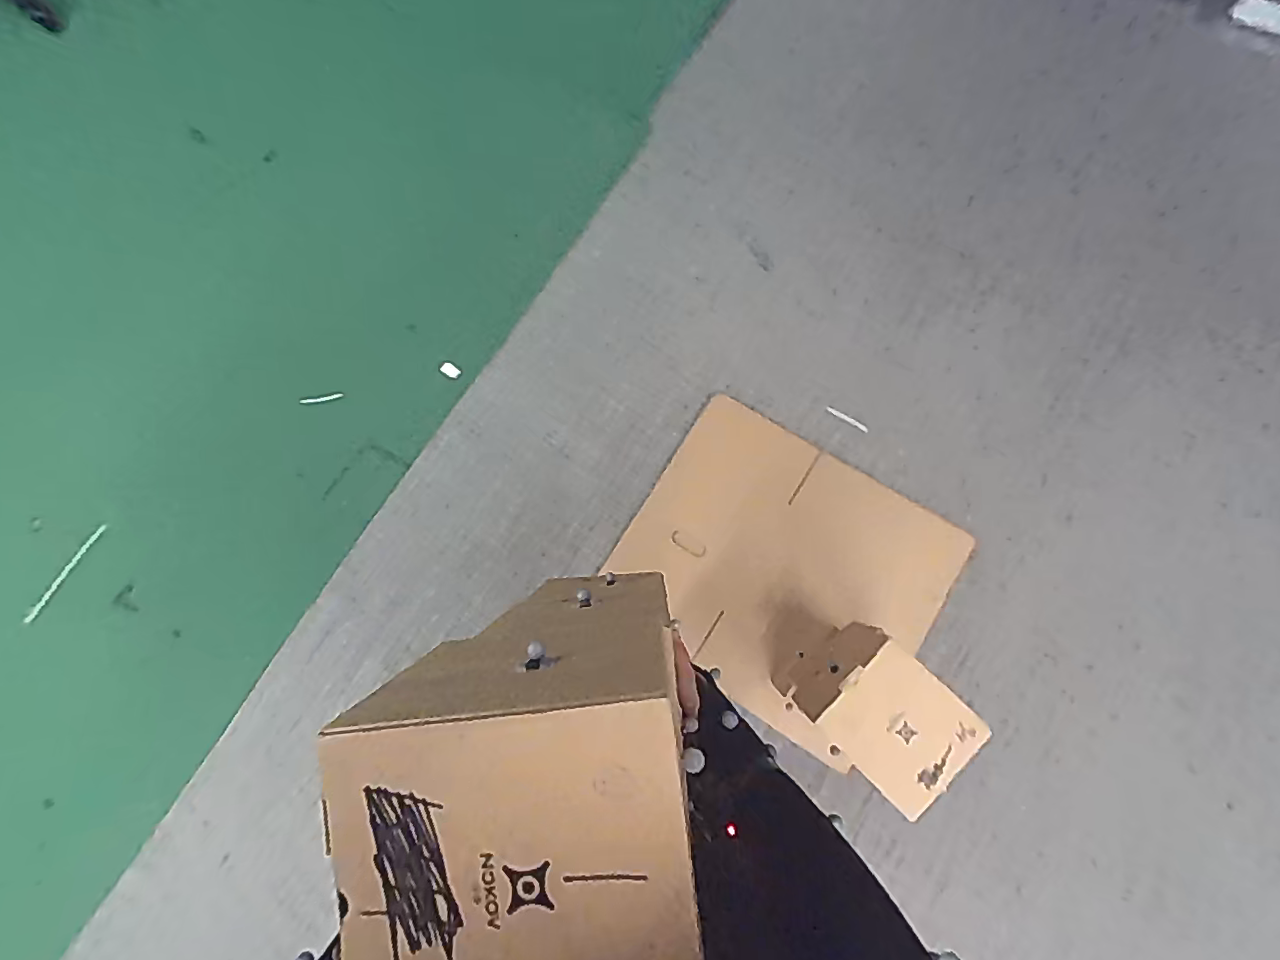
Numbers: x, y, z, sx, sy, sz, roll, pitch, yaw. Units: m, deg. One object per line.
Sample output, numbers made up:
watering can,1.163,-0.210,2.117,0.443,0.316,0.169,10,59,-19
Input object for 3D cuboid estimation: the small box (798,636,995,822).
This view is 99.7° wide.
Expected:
small box,0.362,0.351,0.805,0.168,0.176,0.179,-44,77,-5

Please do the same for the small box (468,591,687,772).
small box,-0.046,0.210,0.495,0.168,0.176,0.179,-6,88,0

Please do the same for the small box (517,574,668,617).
small box,-0.045,0.220,0.660,0.168,0.176,0.179,-5,88,0

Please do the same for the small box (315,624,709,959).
small box,-0.058,0.197,0.332,0.179,0.176,0.168,-8,89,0

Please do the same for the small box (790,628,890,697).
small box,0.393,0.380,0.963,0.179,0.176,0.168,-36,78,-2
